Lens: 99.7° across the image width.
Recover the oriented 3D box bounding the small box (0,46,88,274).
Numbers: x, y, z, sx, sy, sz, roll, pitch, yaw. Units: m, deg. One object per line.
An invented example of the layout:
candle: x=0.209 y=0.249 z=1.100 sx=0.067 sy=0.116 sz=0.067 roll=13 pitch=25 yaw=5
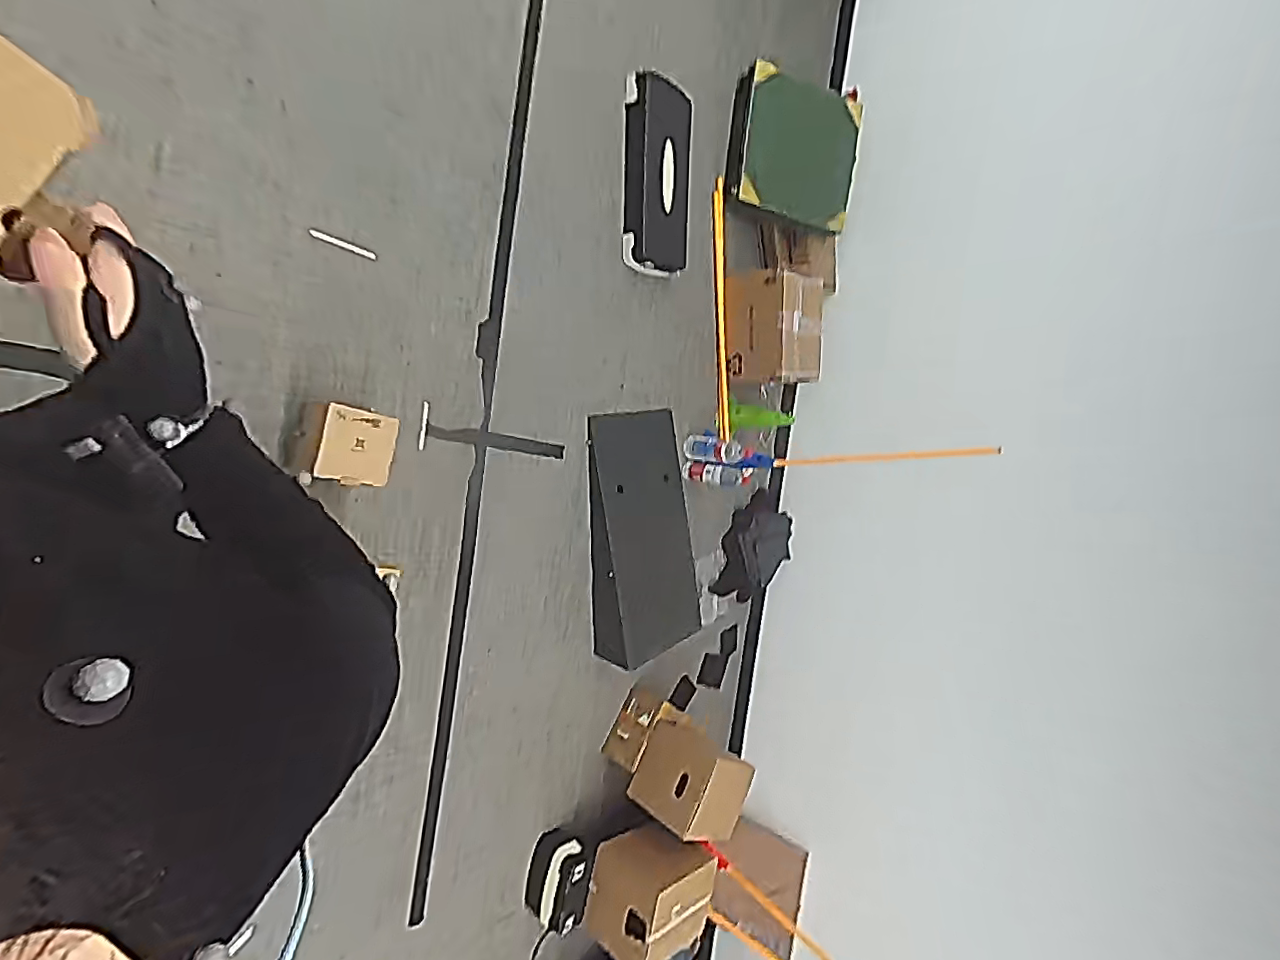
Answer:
small box: x=-0.454 y=-0.195 z=0.288 sx=0.179 sy=0.176 sz=0.168 roll=34 pitch=81 yaw=-48

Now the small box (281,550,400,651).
small box: x=-0.673 y=0.268 z=1.208 sx=0.168 sy=0.176 sz=0.179 roll=20 pitch=83 yaw=-50

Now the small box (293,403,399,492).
small box: x=-0.726 y=-0.081 z=1.327 sx=0.168 sy=0.176 sz=0.179 roll=16 pitch=86 yaw=-49
